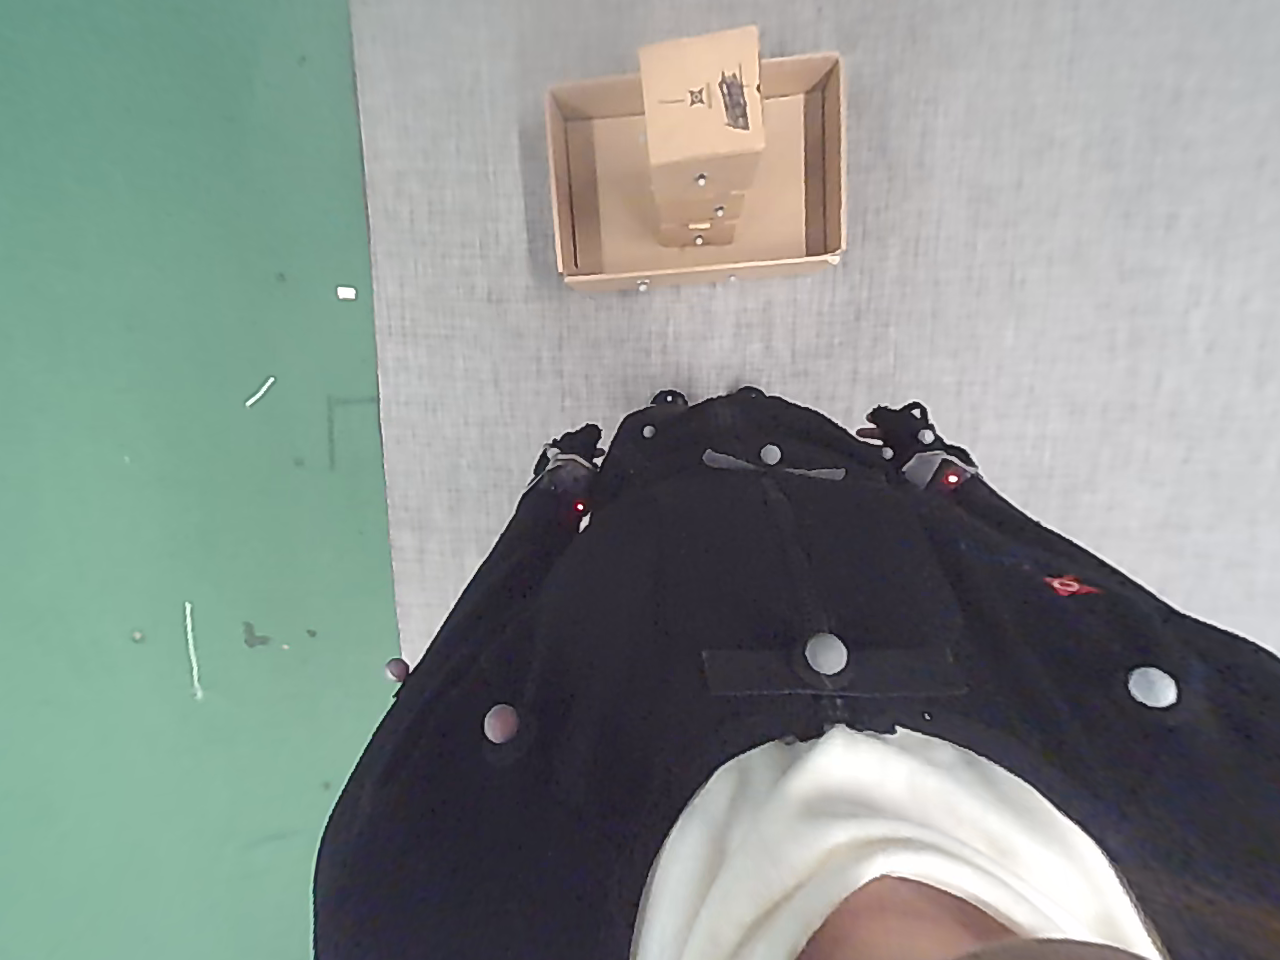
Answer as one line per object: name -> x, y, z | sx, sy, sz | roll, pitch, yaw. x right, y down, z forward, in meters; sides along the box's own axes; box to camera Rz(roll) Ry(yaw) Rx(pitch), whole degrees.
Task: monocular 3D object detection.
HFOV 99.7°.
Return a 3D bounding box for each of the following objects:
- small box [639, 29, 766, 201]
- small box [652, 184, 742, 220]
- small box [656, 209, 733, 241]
small box -> 0.097, -0.579, 0.882 | 0.179, 0.176, 0.168 | -8, 99, 5
small box -> 0.110, -0.614, 1.042 | 0.168, 0.176, 0.179 | -1, 98, 5
small box -> 0.124, -0.639, 1.201 | 0.168, 0.176, 0.179 | 1, 100, 5
